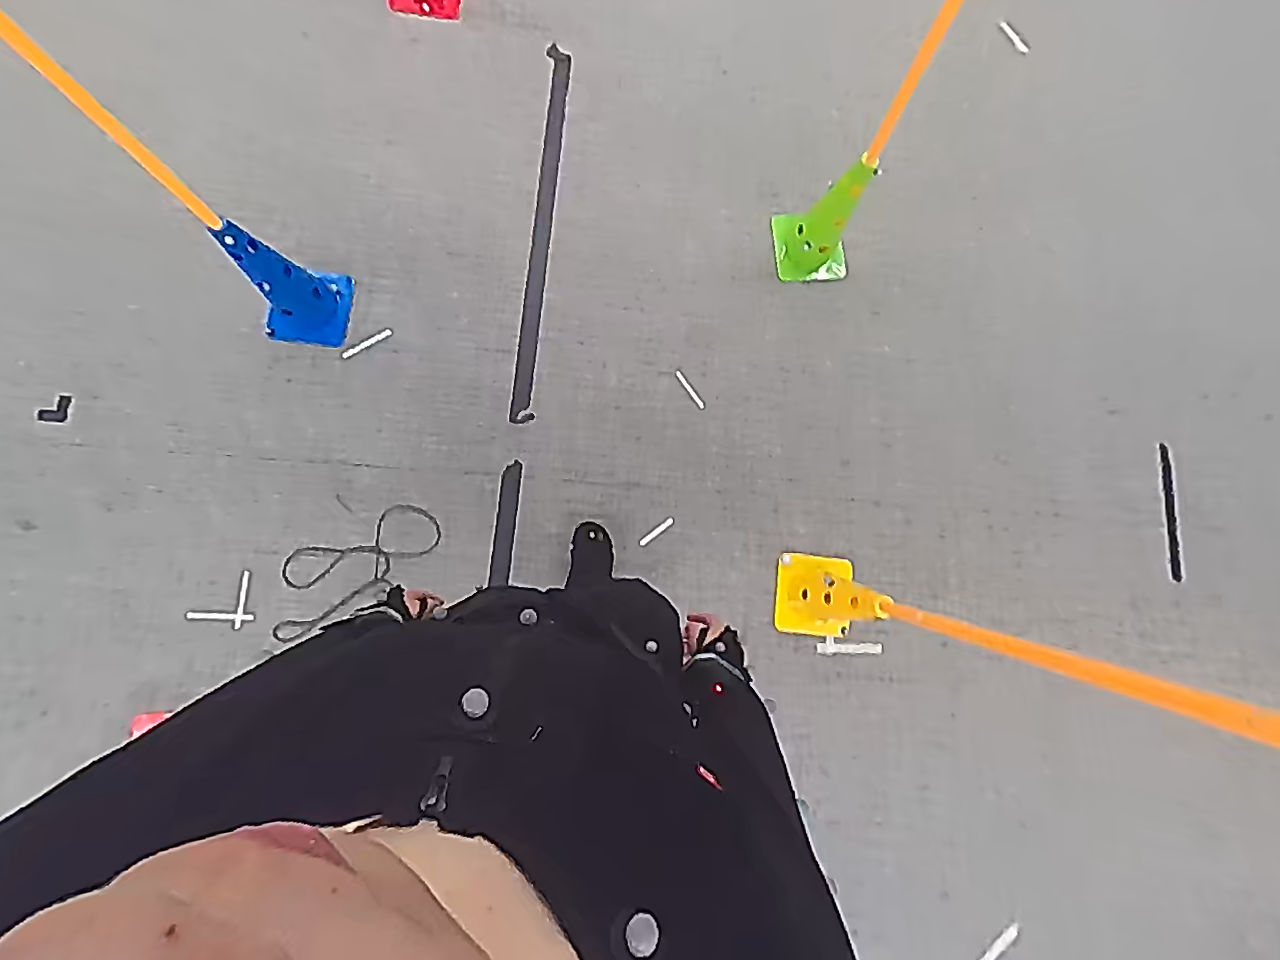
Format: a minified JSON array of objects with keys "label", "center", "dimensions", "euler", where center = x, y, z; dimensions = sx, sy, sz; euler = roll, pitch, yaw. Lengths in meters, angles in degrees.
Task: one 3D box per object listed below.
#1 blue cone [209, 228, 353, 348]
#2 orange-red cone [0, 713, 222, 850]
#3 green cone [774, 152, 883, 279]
[{"label":"blue cone","center":[-0.842,-0.466,1.248],"dimensions":[0.193,0.380,0.192],"euler":[8,82,-3]},{"label":"orange-red cone","center":[-1.045,0.610,1.059],"dimensions":[0.199,0.360,0.198],"euler":[0,82,-6]},{"label":"green cone","center":[0.499,-0.689,1.368],"dimensions":[0.200,0.368,0.202],"euler":[-5,84,-5]}]
